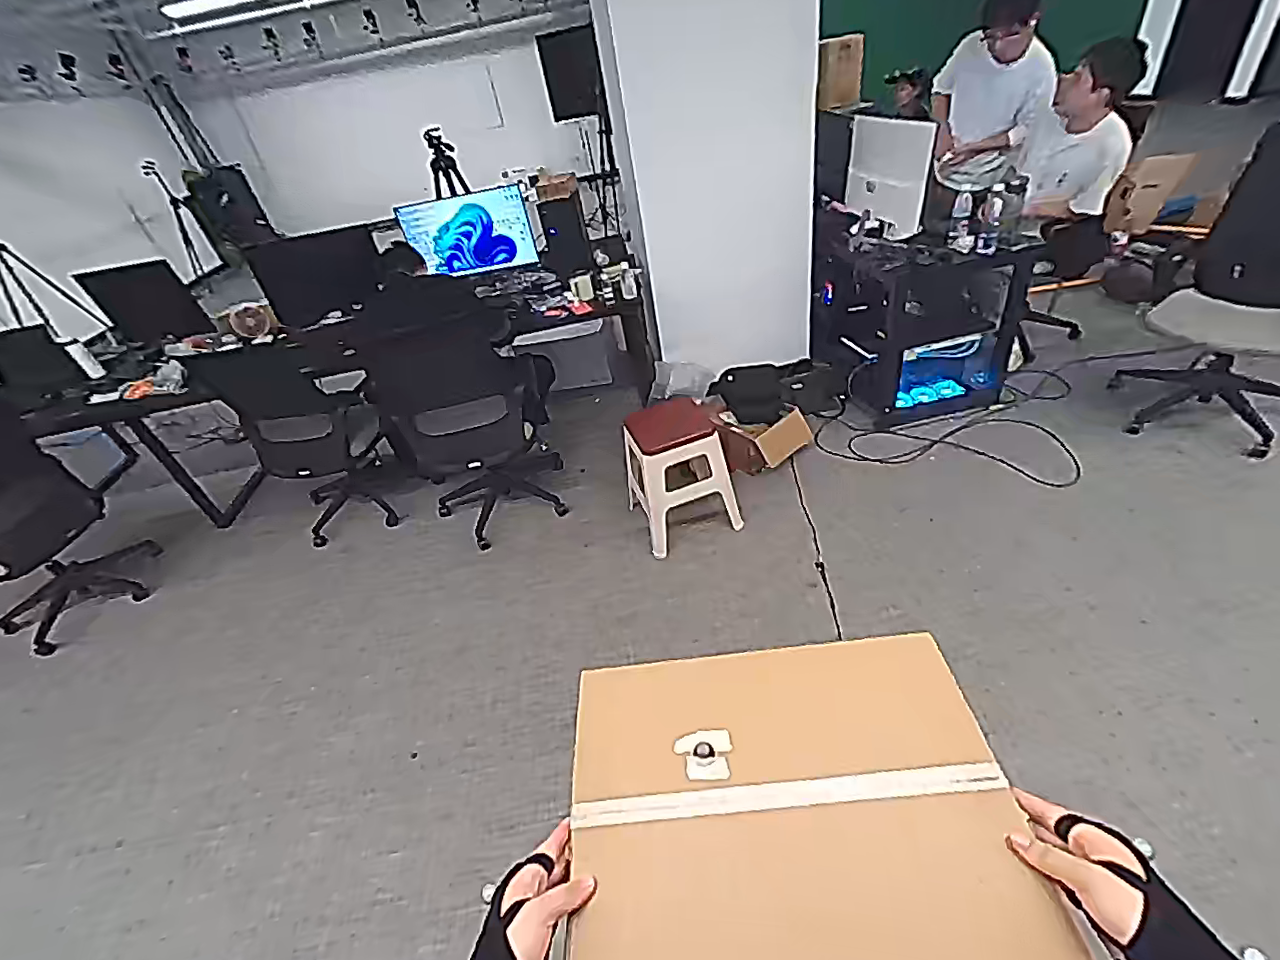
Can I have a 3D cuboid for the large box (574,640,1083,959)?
[{"bbox_3d":[0.162,0.424,0.614,0.408,0.320,0.320,-9,39,5],"label":"large box"}]
